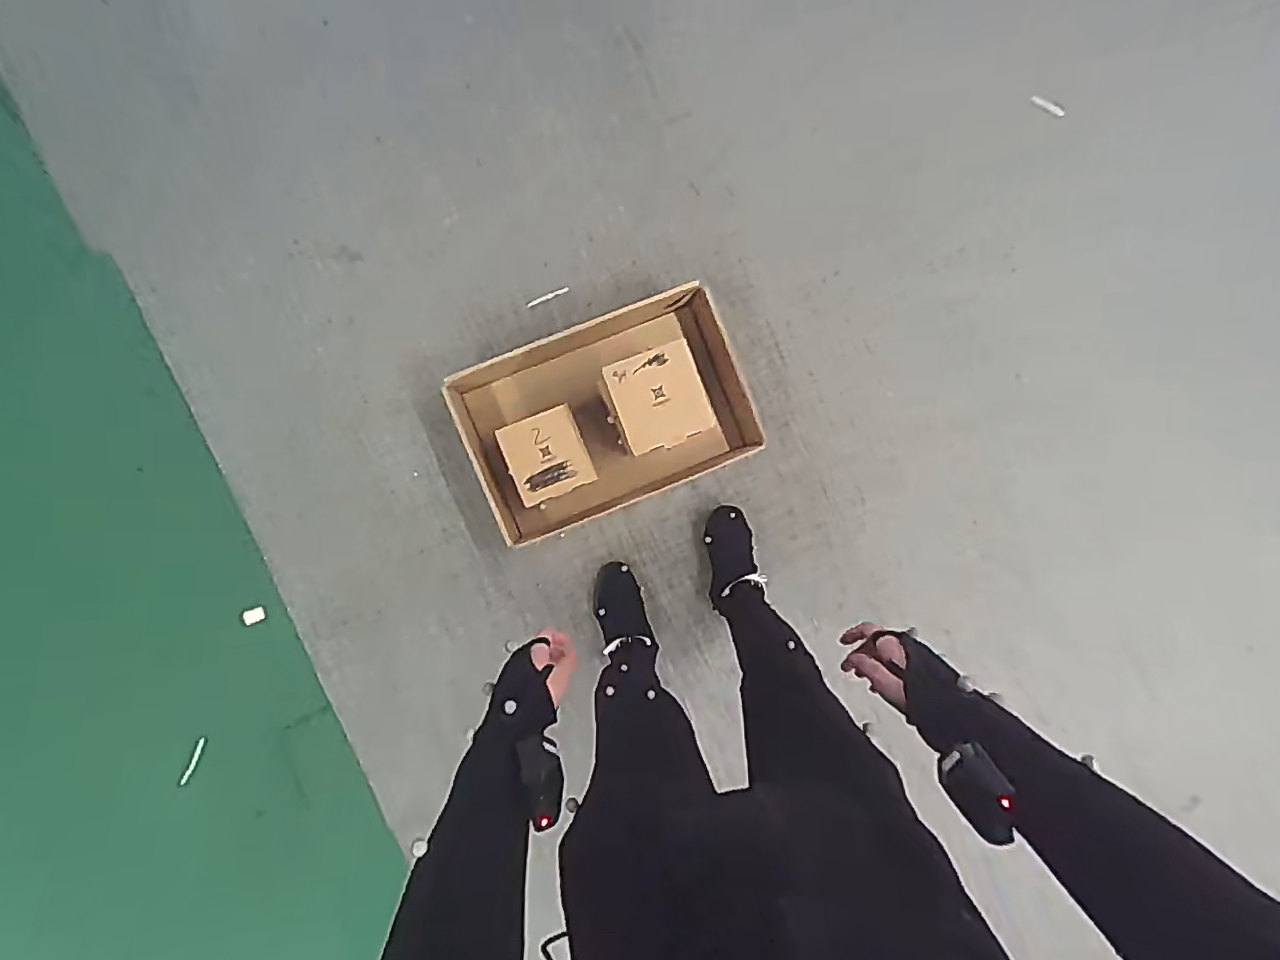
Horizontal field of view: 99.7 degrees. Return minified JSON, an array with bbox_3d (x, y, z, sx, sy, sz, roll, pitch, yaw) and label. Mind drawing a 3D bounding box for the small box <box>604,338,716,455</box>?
[{"bbox_3d":[0.034,-0.159,1.068,0.168,0.176,0.179,-20,95,-2],"label":"small box"}]
